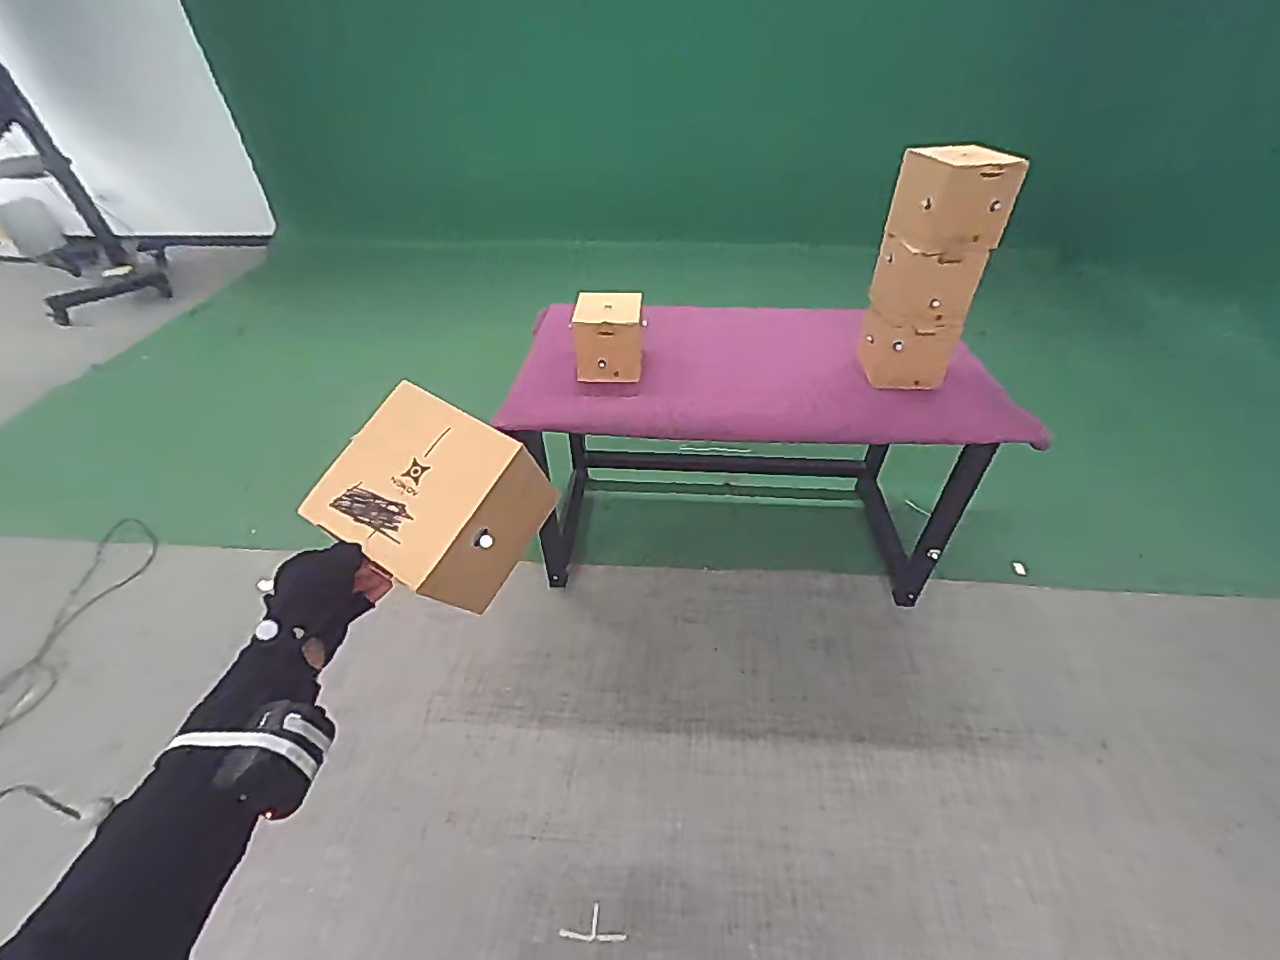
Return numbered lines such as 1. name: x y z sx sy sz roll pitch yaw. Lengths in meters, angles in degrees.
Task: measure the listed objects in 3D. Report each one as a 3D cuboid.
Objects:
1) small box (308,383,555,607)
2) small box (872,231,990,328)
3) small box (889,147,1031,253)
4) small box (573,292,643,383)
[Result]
1. small box: -0.220 0.028 0.625 0.168 0.176 0.179 28 75 15
2. small box: 0.659 -0.468 1.254 0.168 0.176 0.179 0 42 2
3. small box: 0.663 -0.589 1.145 0.168 0.176 0.179 -7 42 -7
4. small box: -0.079 -0.372 1.412 0.168 0.176 0.179 2 44 2
